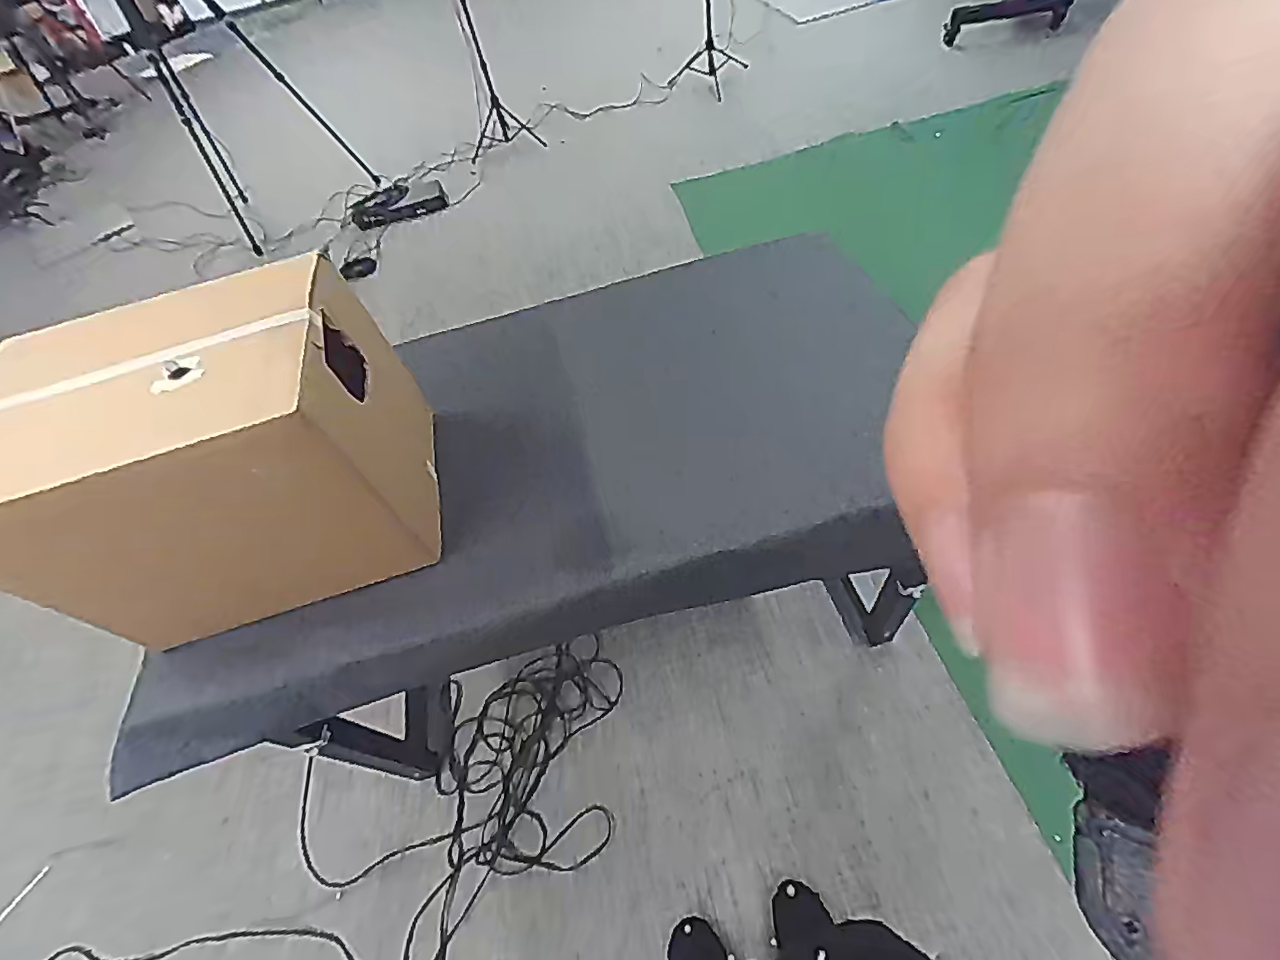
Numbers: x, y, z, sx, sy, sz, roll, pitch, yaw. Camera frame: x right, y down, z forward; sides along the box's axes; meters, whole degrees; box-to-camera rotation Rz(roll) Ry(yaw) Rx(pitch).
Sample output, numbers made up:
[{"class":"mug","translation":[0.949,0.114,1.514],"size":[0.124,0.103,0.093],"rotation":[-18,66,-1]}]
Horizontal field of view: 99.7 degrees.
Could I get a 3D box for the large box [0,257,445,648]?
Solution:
[{"class":"large box","translation":[-0.520,-0.030,0.715],"size":[0.408,0.320,0.320],"rotation":[-18,53,-4]}]
